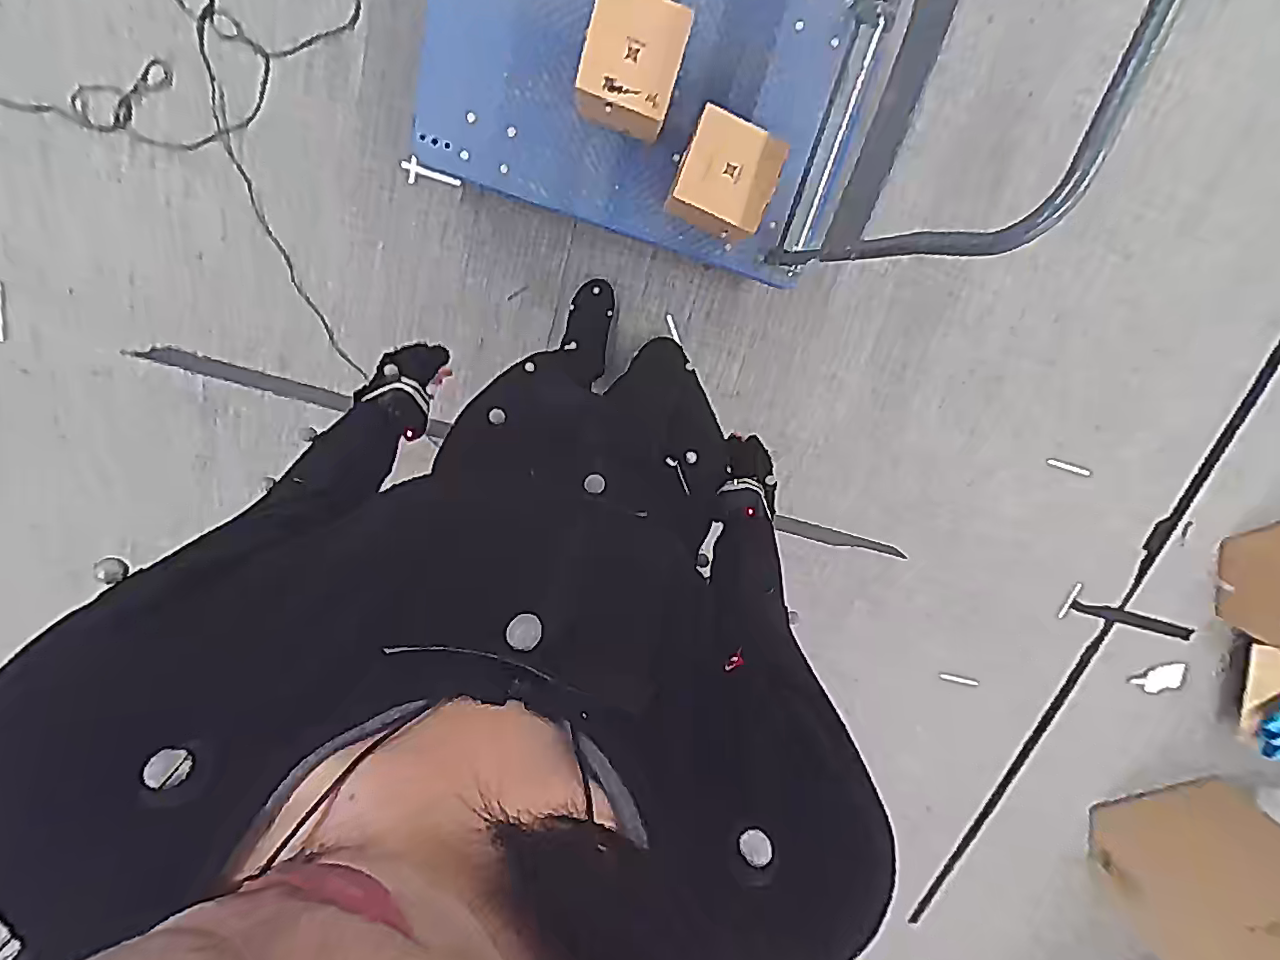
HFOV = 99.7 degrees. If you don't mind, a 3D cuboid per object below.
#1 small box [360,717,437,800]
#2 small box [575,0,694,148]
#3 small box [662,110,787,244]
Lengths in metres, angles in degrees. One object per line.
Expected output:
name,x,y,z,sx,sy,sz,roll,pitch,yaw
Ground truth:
small box,-0.754,0.876,1.714,0.179,0.176,0.168,-3,109,-4
small box,-0.018,-0.760,1.007,0.168,0.176,0.179,17,106,-10
small box,0.159,-0.591,1.083,0.179,0.176,0.168,20,104,-10
